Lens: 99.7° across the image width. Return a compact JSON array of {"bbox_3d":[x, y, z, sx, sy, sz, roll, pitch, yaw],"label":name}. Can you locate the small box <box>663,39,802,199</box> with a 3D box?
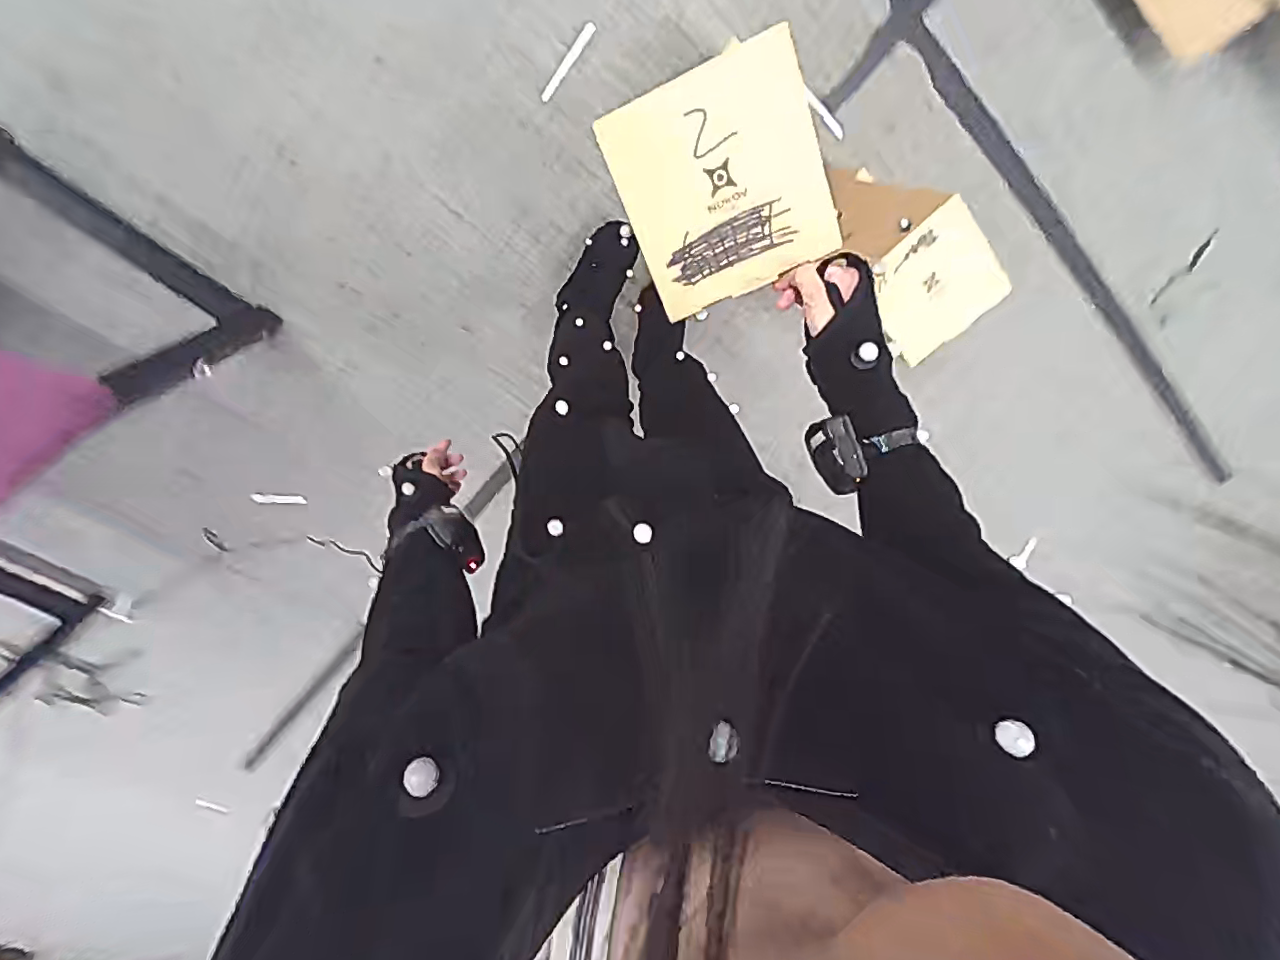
[{"bbox_3d":[0.160,-0.651,0.997,0.179,0.176,0.168,37,113,-23],"label":"small box"}]

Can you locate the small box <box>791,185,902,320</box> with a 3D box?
[{"bbox_3d":[0.401,-0.399,0.971,0.179,0.176,0.168,38,113,-24],"label":"small box"}]

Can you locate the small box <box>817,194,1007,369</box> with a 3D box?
[{"bbox_3d":[0.407,-0.311,0.833,0.168,0.176,0.179,-40,117,19],"label":"small box"}]

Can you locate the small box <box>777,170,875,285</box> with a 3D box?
[{"bbox_3d":[0.401,-0.499,1.103,0.168,0.176,0.179,36,113,-23],"label":"small box"}]
